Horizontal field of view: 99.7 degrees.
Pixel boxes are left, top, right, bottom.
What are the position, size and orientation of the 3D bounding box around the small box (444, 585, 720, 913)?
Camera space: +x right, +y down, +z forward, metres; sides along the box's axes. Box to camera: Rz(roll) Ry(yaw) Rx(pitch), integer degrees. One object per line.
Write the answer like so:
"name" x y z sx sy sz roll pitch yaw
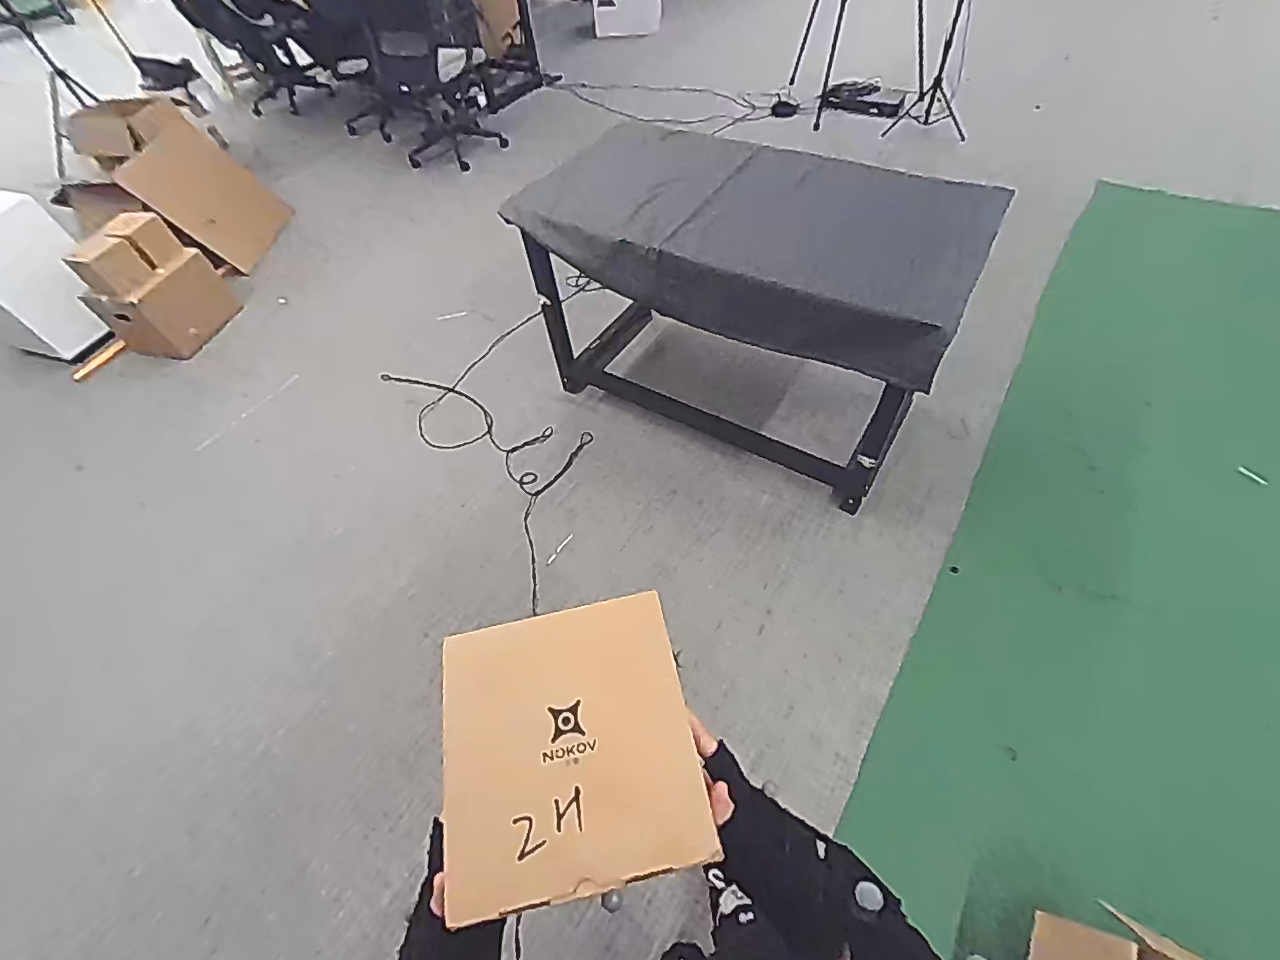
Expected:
"small box" -0.043 0.209 0.426 0.168 0.176 0.179 -12 56 -3
